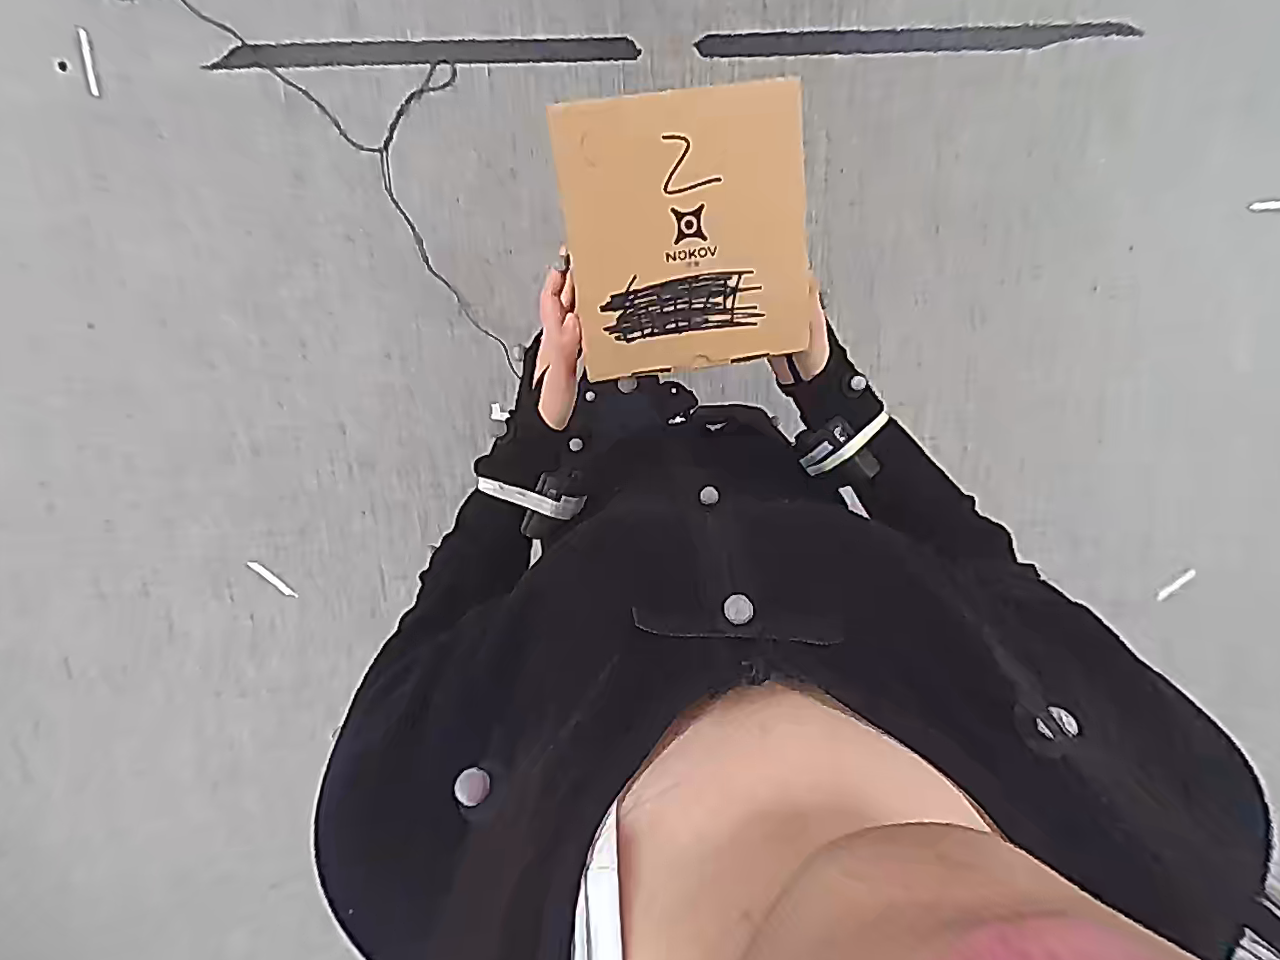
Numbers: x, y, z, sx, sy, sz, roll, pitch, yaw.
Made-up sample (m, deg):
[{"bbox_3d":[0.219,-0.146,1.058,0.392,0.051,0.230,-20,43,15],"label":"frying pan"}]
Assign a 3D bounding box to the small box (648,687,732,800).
[{"bbox_3d":[0.109,0.586,1.221,0.179,0.176,0.168,-3,100,1],"label":"small box"}]
